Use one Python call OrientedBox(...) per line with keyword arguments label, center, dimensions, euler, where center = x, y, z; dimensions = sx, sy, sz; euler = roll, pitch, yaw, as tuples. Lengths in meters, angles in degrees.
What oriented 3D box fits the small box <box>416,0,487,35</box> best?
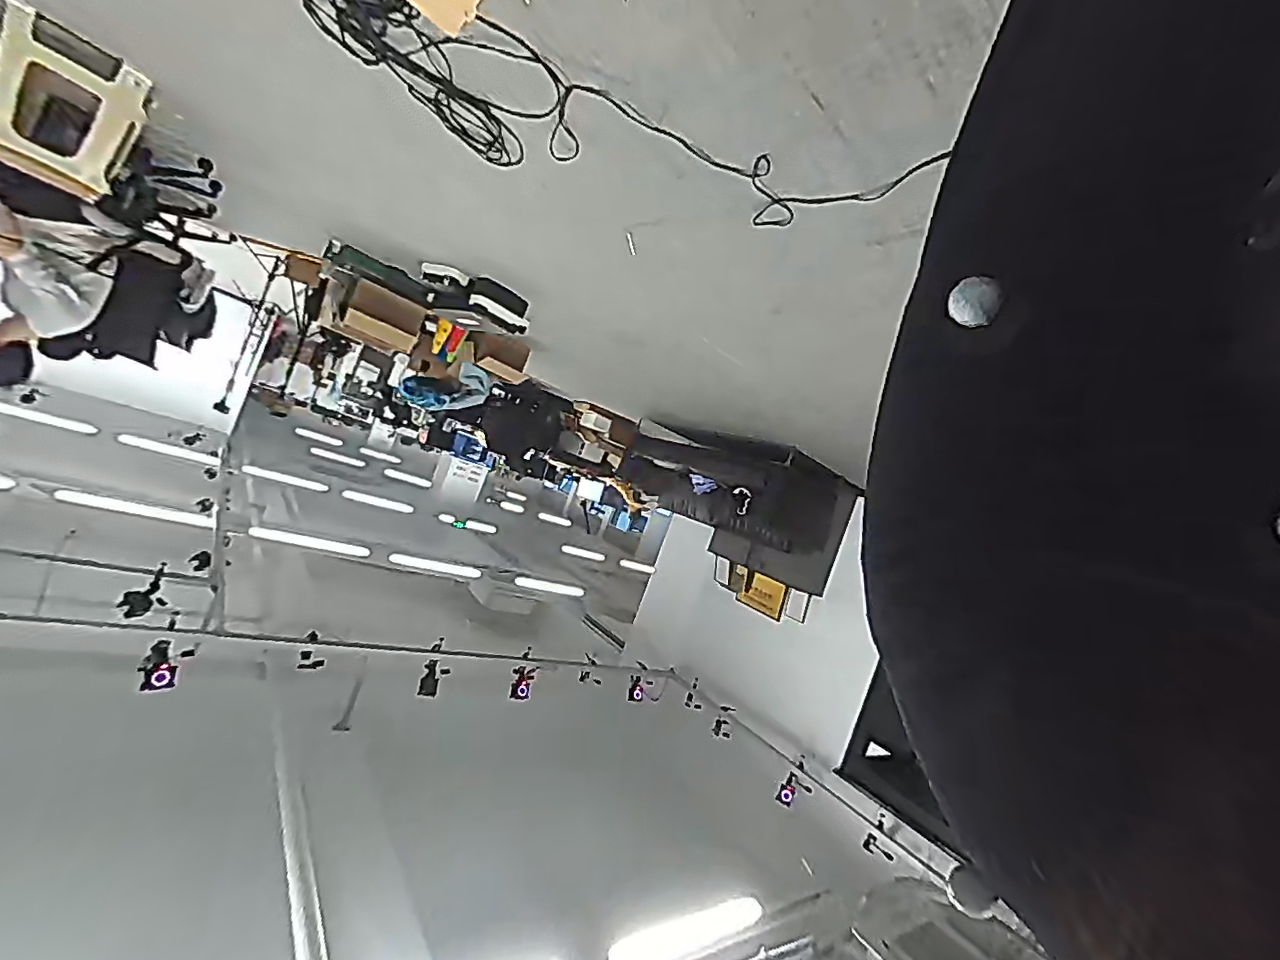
OrientedBox(label="small box", center=(-0.285, -0.822, 0.783), dimensions=(0.179, 0.176, 0.168), euler=(21, 180, -38))
